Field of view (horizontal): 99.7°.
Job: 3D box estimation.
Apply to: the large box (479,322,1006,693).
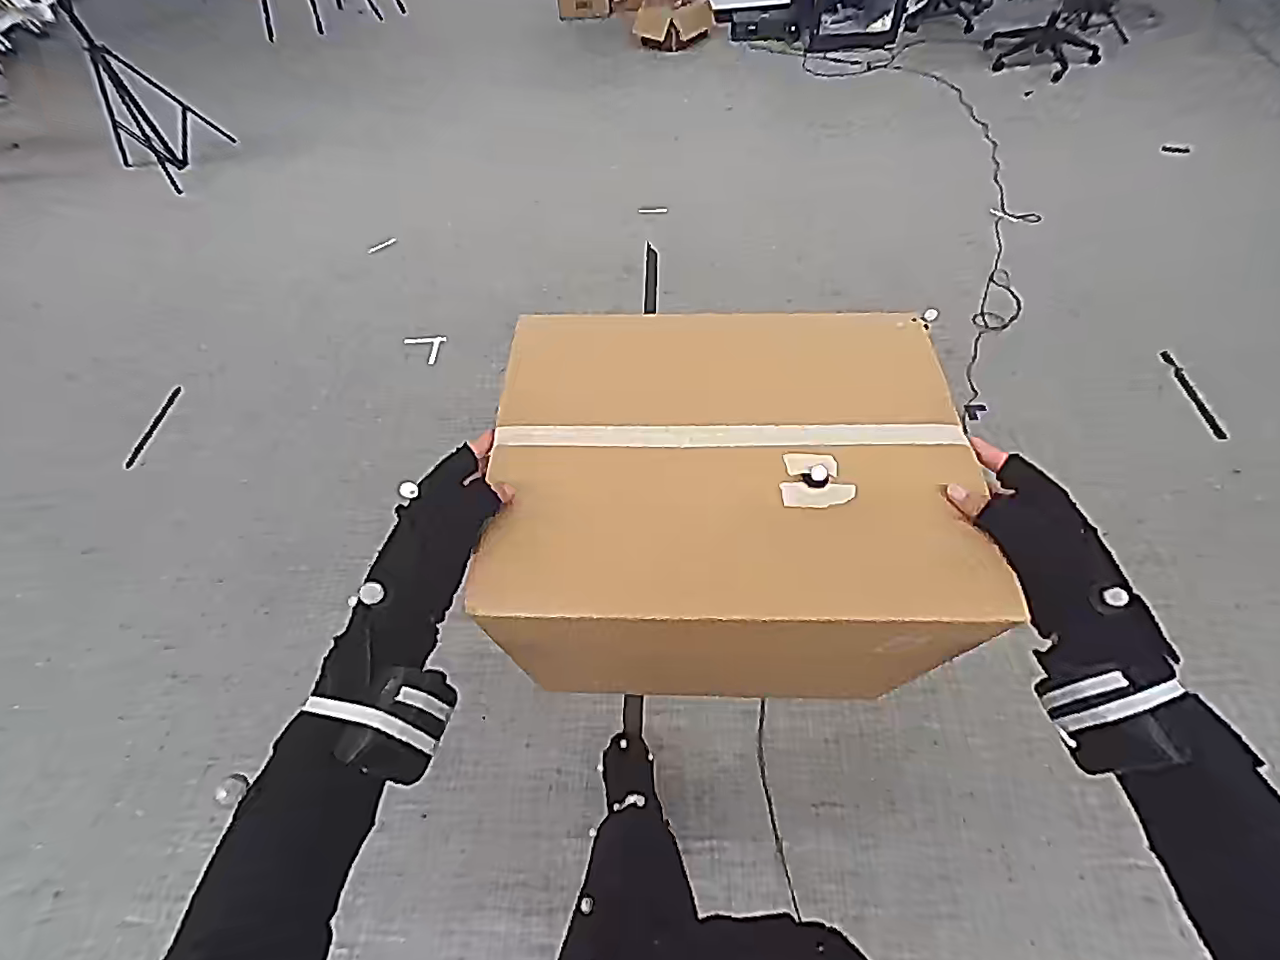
[{"bbox_3d":[0.075,0.046,0.605,0.408,0.320,0.320,0,59,1],"label":"large box"}]
